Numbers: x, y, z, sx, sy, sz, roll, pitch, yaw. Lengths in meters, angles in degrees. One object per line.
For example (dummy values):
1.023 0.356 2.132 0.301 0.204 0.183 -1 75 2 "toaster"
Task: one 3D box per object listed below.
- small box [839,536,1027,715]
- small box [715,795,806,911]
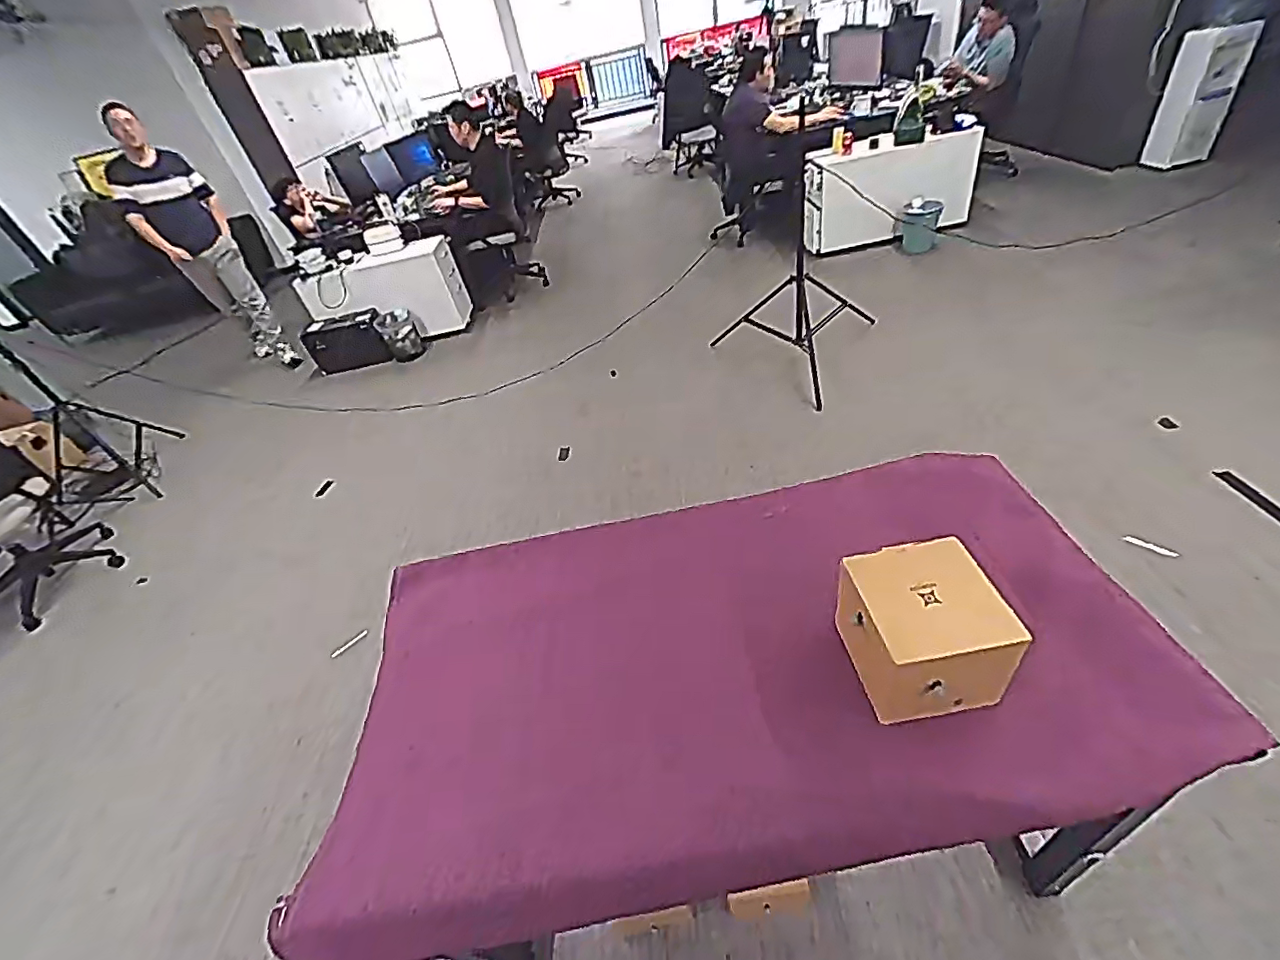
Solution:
0.395 0.211 0.765 0.168 0.176 0.179 -12 40 3 "small box"
0.269 0.838 1.209 0.168 0.176 0.179 -9 40 4 "small box"
